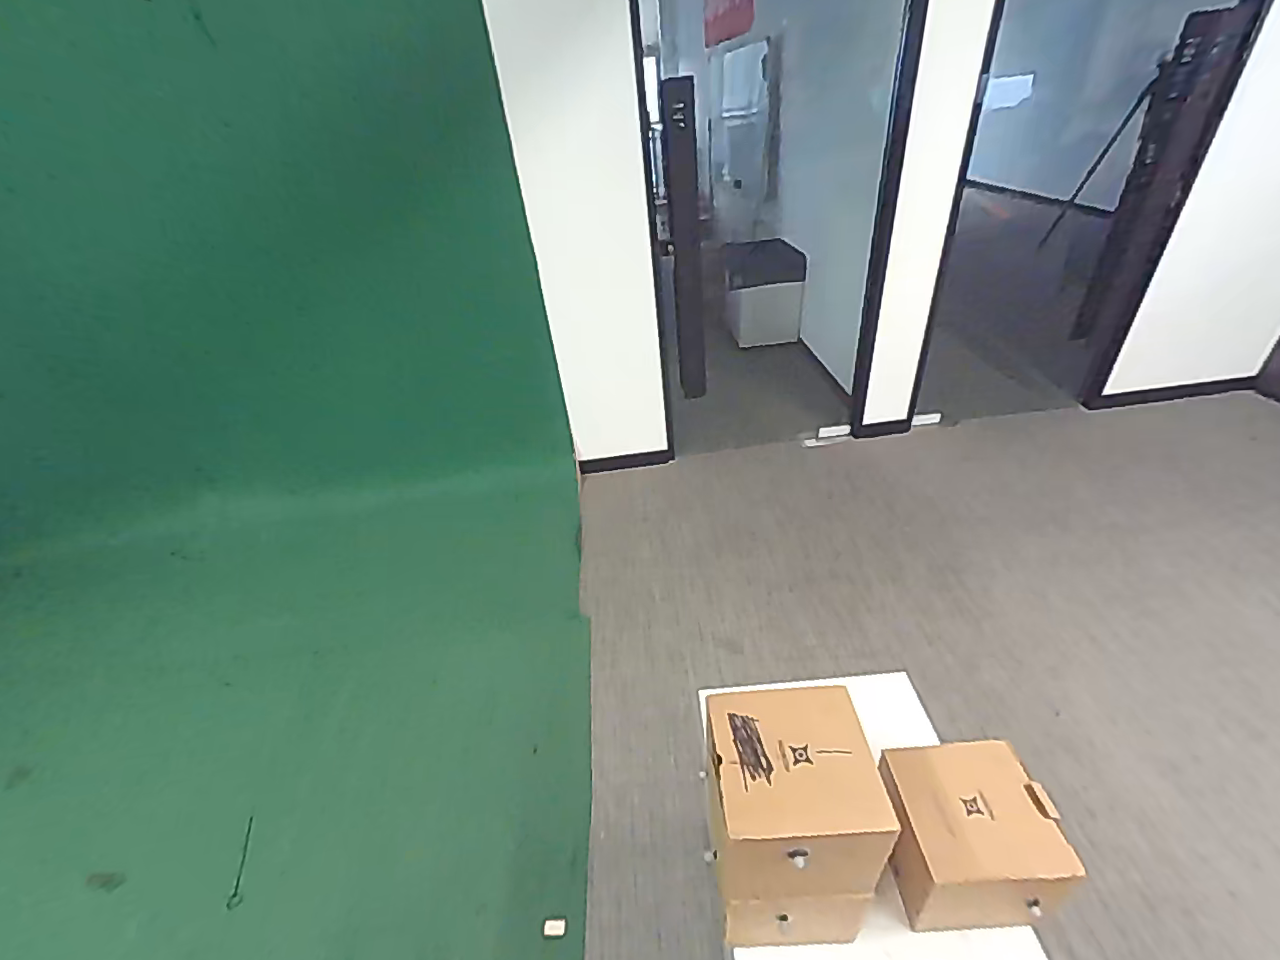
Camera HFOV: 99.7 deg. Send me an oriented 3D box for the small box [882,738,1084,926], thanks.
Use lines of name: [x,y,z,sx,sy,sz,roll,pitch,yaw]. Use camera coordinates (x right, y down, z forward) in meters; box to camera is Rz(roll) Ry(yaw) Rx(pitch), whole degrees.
small box: [0.437,0.479,0.738,0.179,0.176,0.168,-7,35,4]

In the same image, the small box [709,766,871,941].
small box: [0.192,0.504,0.742,0.179,0.176,0.168,-5,36,2]

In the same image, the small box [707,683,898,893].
small box: [0.177,0.369,0.649,0.179,0.176,0.168,-4,36,1]
